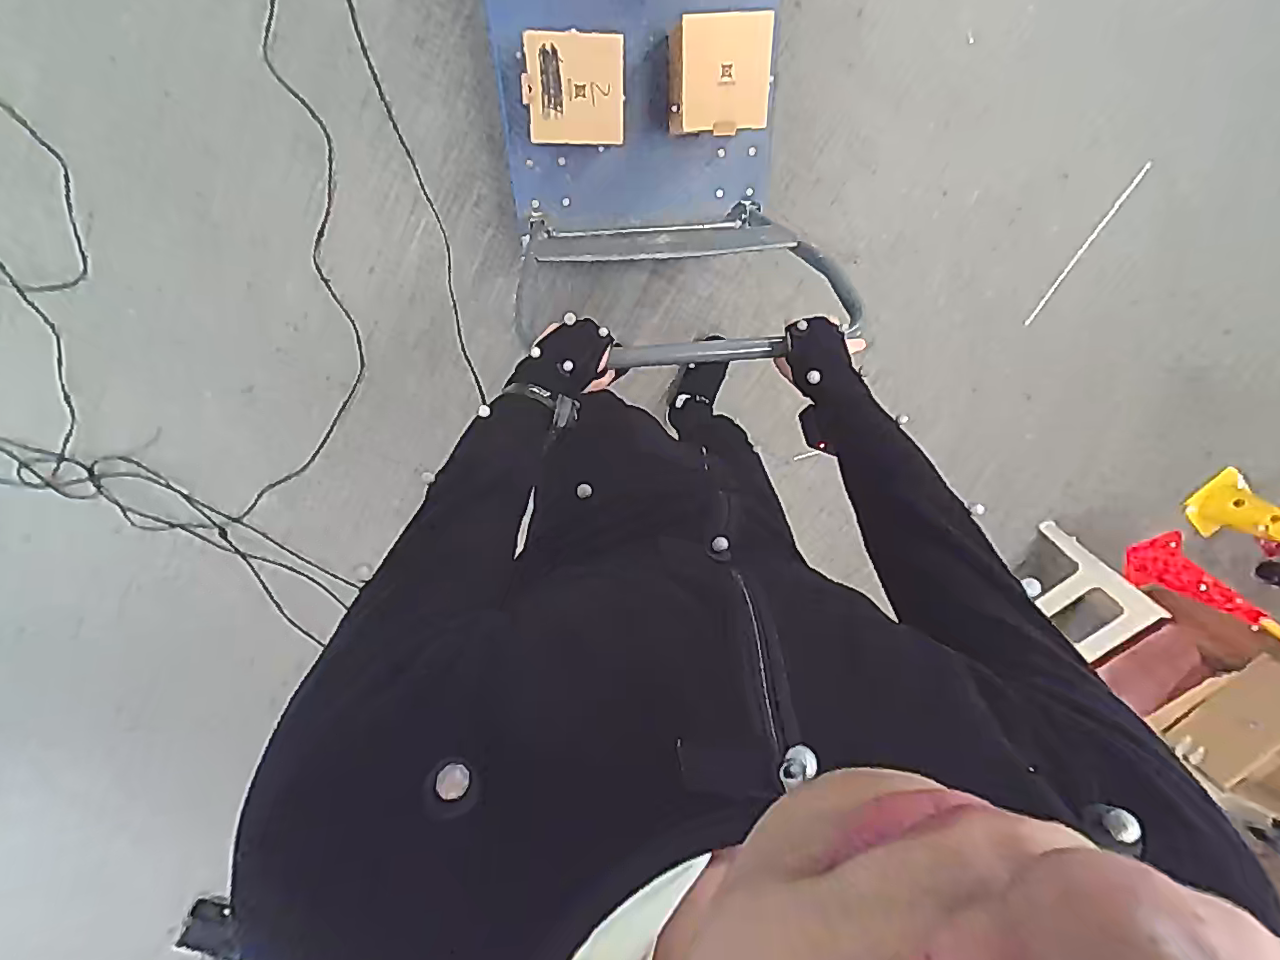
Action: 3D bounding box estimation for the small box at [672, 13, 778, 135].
[{"bbox_3d":[0.156,-0.777,1.049,0.168,0.176,0.179,-5,124,-3],"label":"small box"}]
